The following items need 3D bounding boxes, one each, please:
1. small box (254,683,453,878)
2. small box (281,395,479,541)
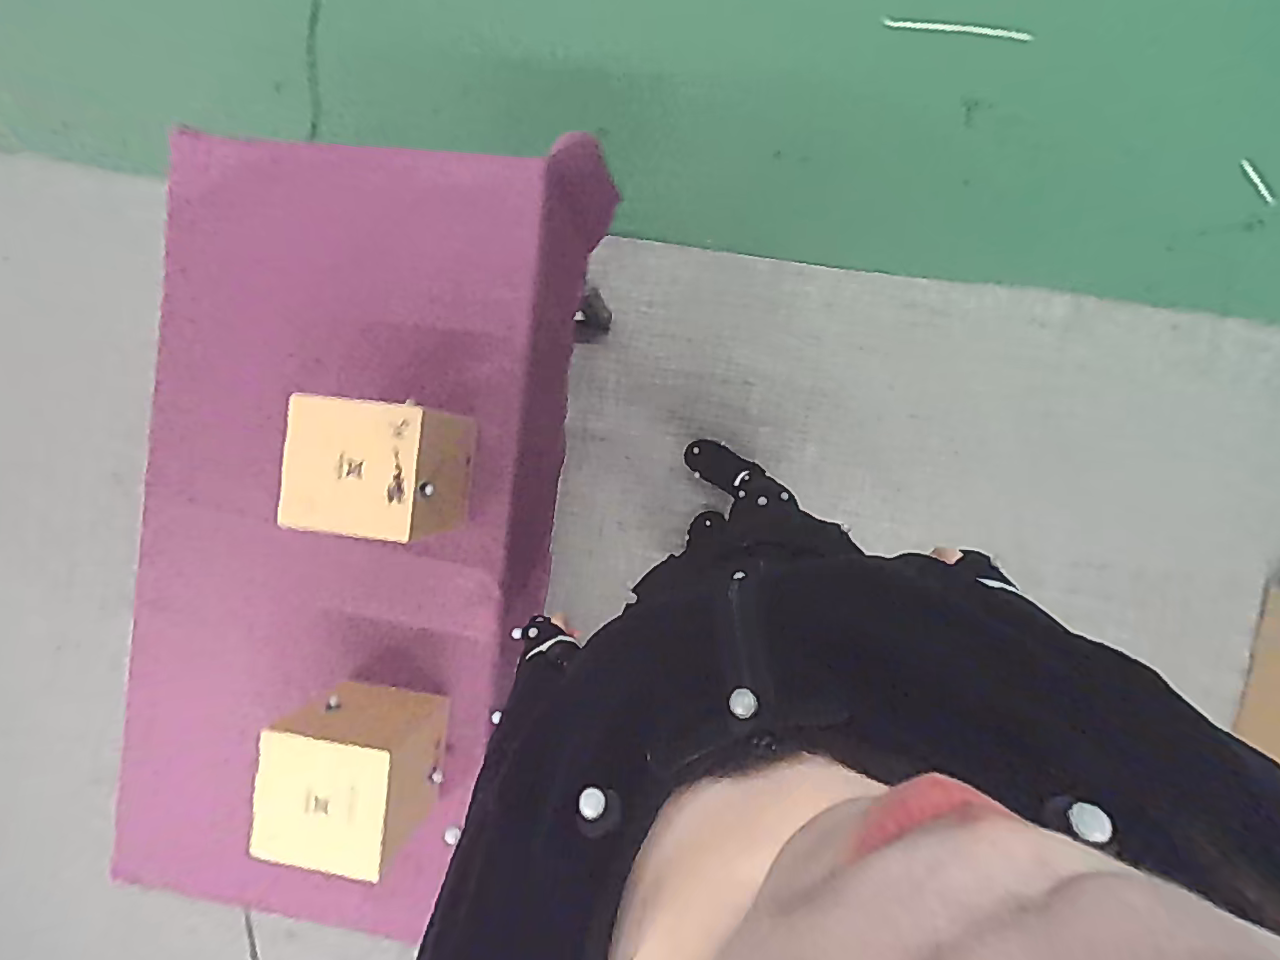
[{"bbox_3d":[-0.387,0.401,0.755,0.179,0.176,0.168,7,92,5],"label":"small box"},{"bbox_3d":[-0.346,-0.017,0.743,0.179,0.176,0.168,6,93,7],"label":"small box"}]
